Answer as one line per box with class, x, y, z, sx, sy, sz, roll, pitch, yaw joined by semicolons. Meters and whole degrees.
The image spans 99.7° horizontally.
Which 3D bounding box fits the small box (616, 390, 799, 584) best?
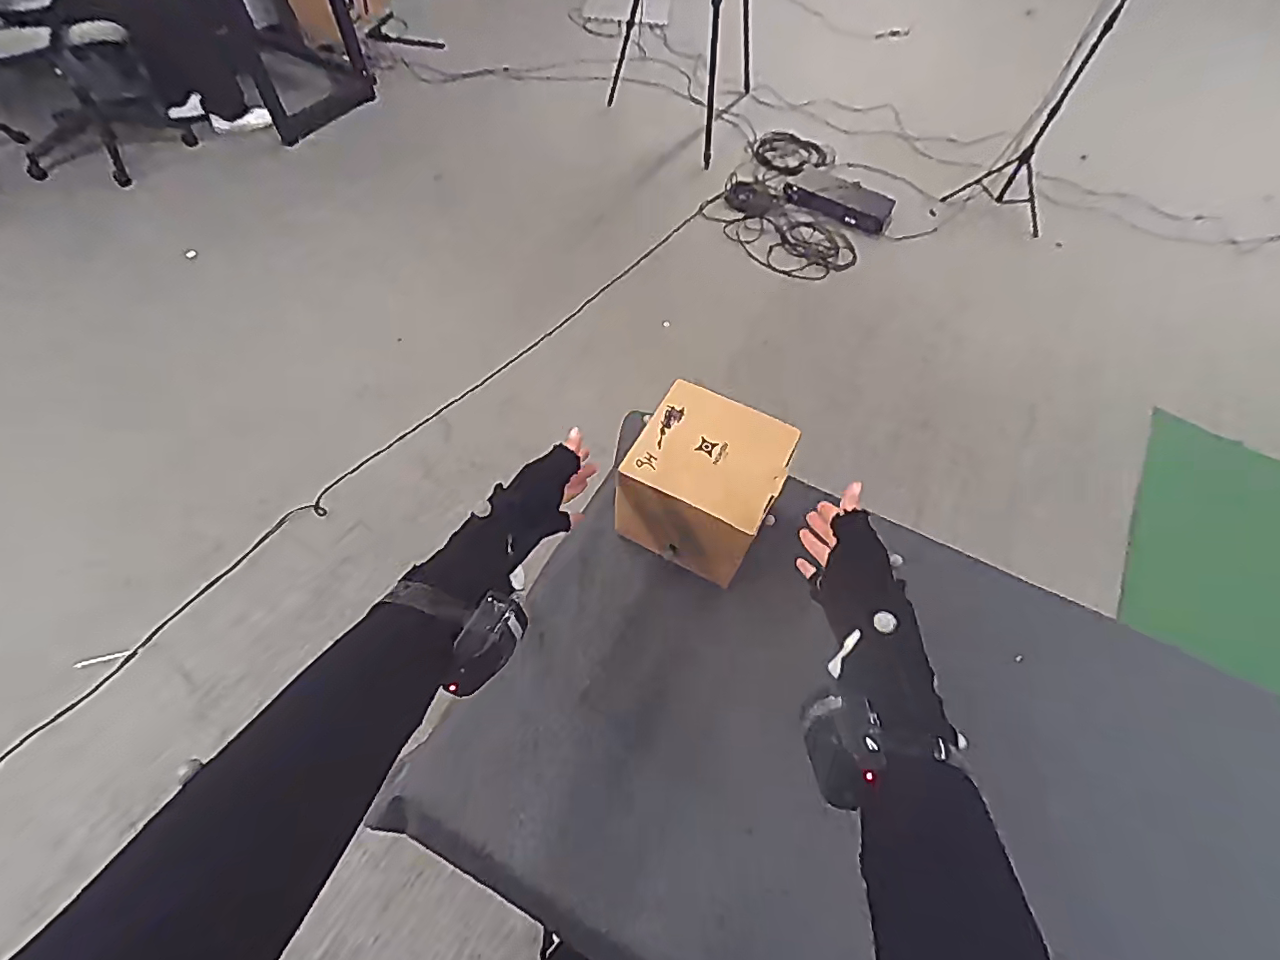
small box;0.081;0.019;0.721;0.179;0.176;0.168;26;60;12
